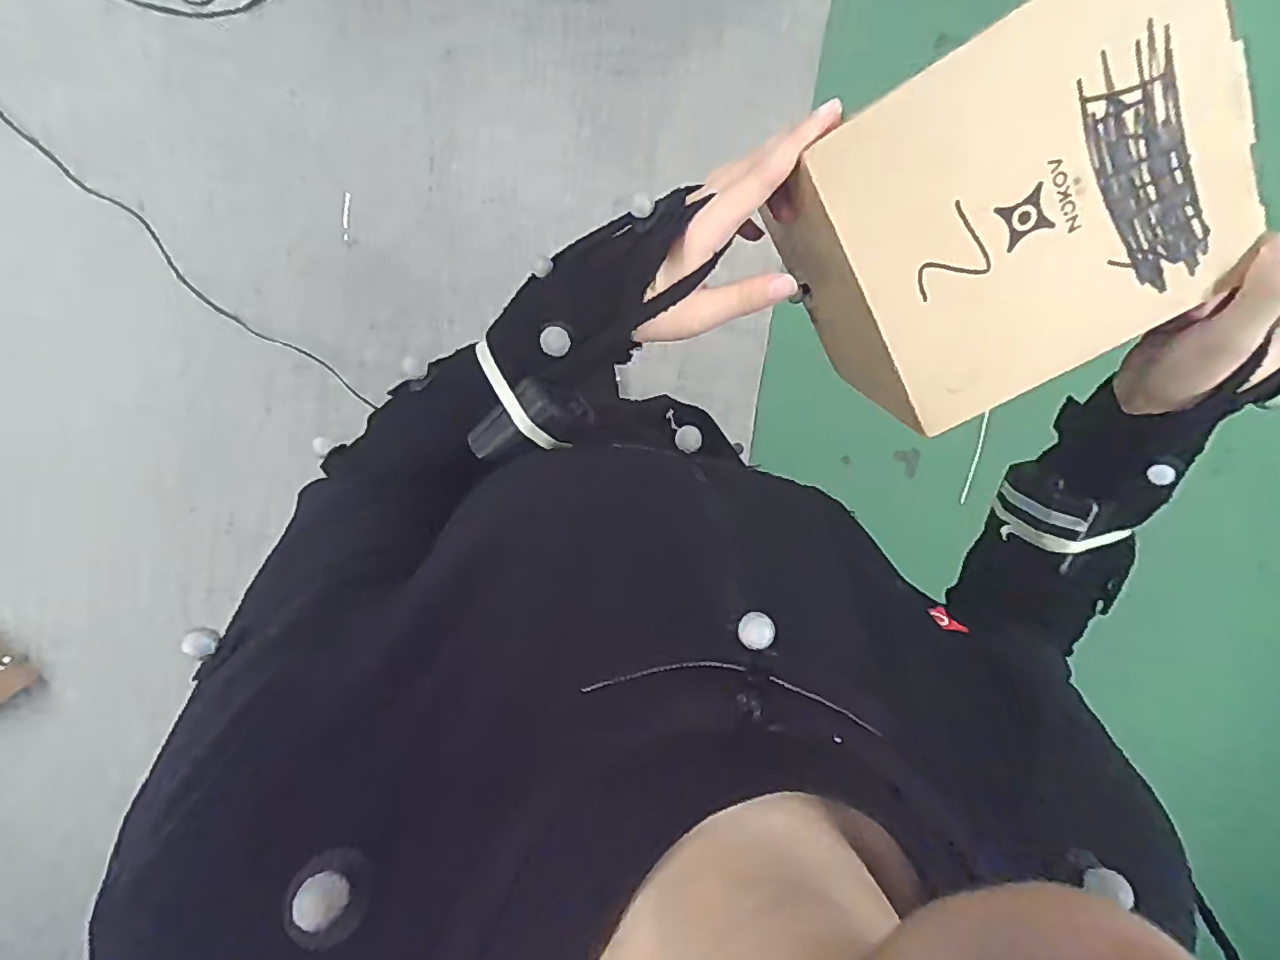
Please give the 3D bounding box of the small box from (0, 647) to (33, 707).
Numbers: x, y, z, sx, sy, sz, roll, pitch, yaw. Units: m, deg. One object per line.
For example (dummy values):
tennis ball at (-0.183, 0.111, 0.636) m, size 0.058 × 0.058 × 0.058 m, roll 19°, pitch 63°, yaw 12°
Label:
small box at (-1.535, 0.478, 1.191) m, size 0.179 × 0.176 × 0.168 m, roll -36°, pitch 106°, yaw 0°
